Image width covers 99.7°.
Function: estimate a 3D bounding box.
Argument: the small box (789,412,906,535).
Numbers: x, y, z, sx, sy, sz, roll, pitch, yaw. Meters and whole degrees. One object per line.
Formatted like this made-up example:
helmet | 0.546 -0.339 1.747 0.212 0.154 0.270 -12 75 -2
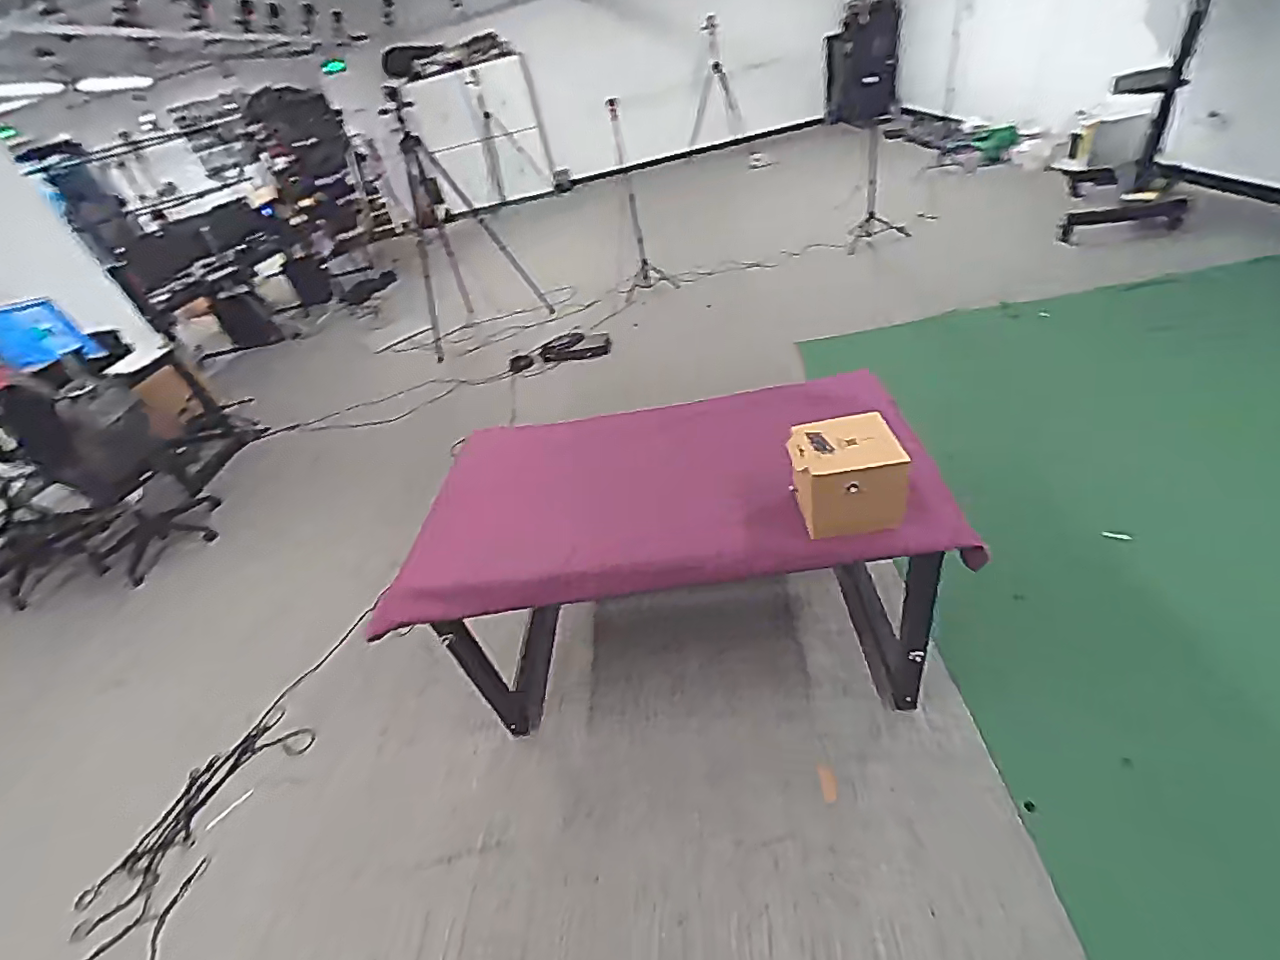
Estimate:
small box | 0.406 -0.009 1.076 0.179 0.176 0.168 -10 38 7
